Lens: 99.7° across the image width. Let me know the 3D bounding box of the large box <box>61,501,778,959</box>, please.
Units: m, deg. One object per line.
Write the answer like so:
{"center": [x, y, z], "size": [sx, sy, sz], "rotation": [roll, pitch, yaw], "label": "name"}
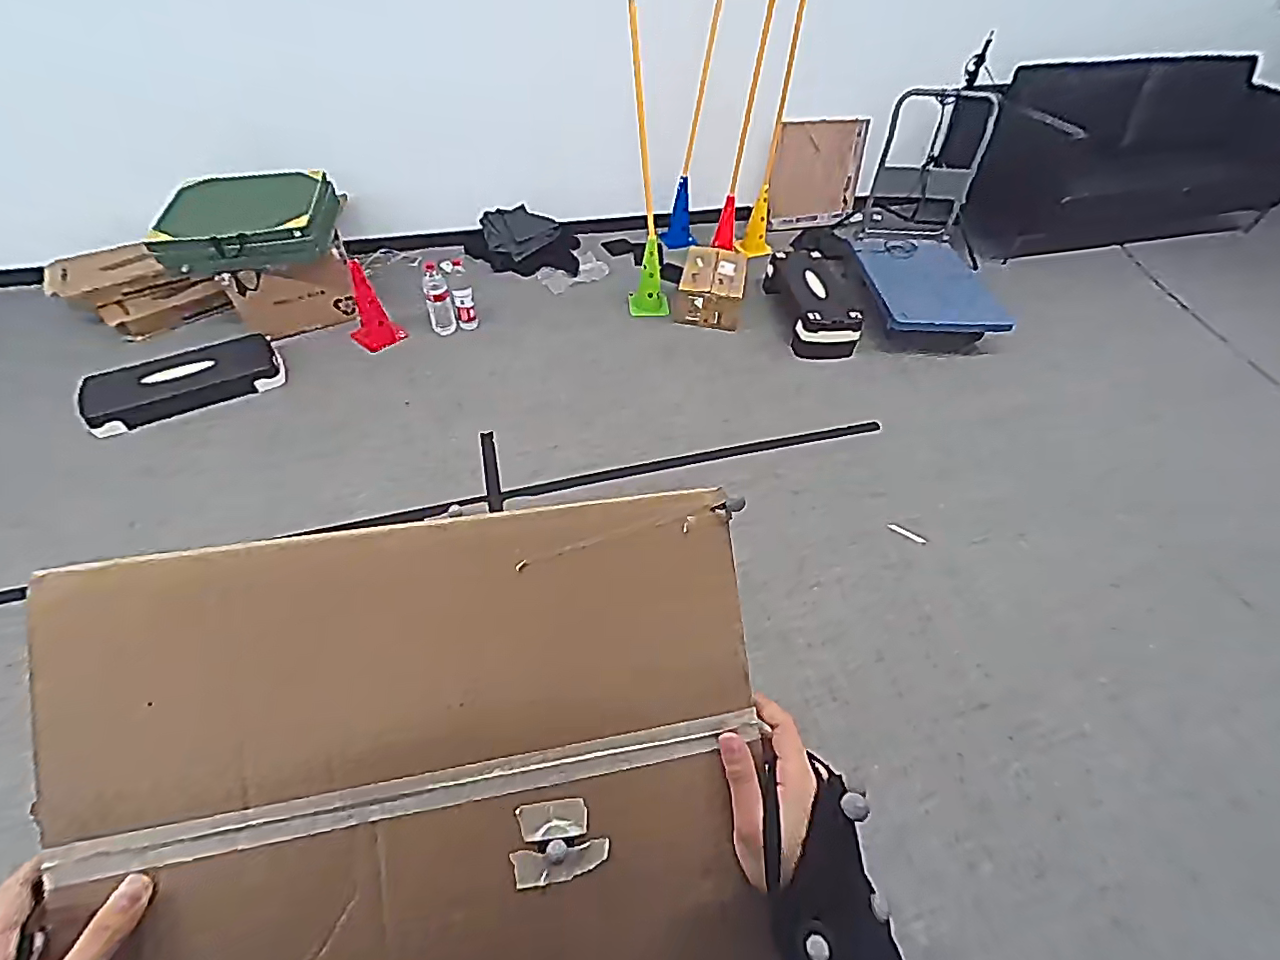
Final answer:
{"center": [-0.146, 0.203, 0.482], "size": [0.408, 0.320, 0.320], "rotation": [-7, 87, -10], "label": "large box"}
